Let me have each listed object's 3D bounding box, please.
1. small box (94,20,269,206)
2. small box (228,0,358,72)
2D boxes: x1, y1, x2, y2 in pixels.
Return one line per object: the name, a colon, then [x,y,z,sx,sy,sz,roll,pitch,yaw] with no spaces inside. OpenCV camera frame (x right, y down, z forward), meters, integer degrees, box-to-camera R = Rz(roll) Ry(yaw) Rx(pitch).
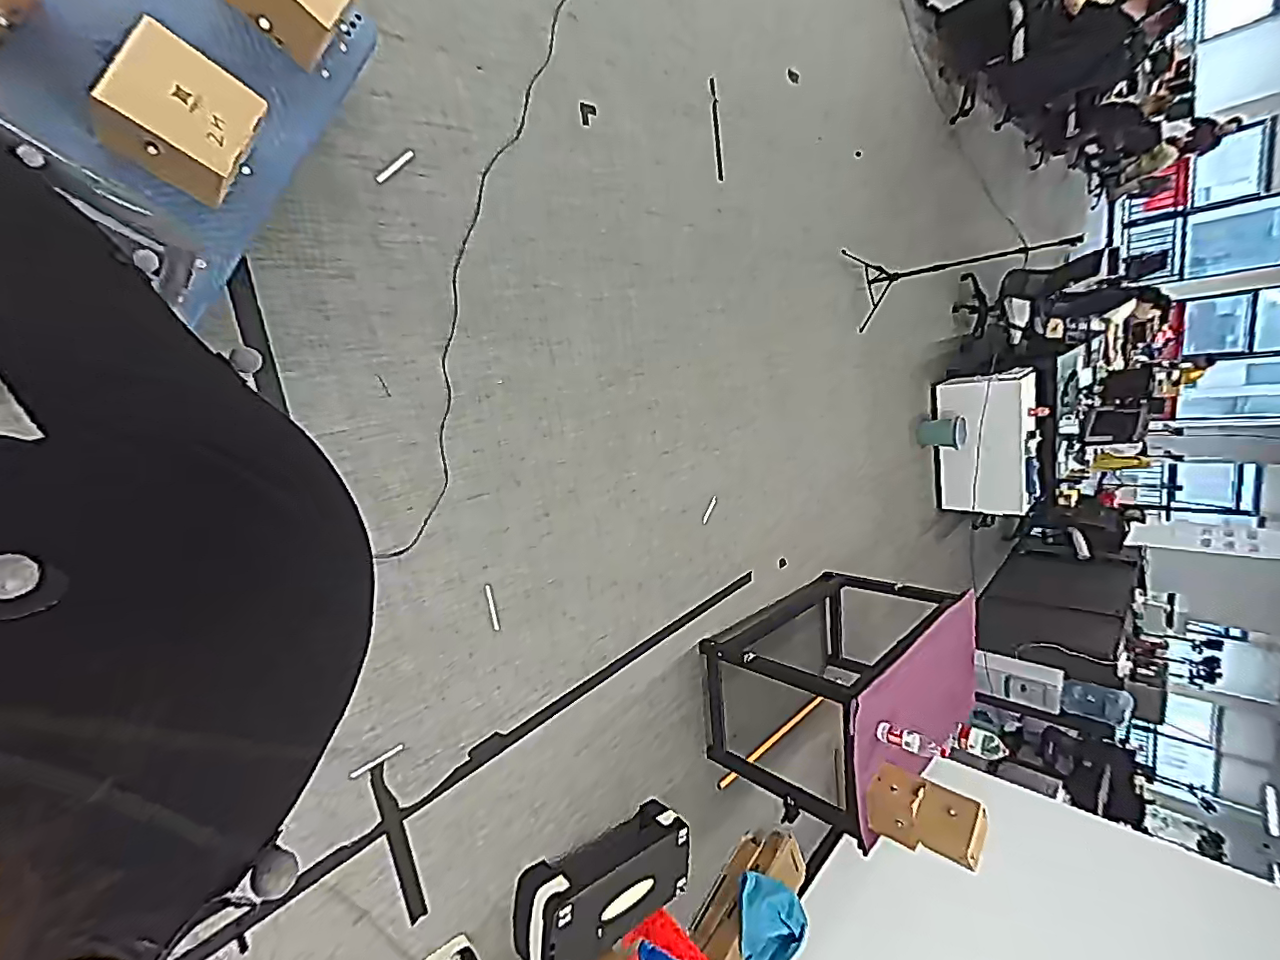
small box: [-0.788,-0.615,0.936,0.179,0.176,0.168,29,73,-40]
small box: [-0.659,-0.949,1.038,0.168,0.176,0.179,33,71,-39]
